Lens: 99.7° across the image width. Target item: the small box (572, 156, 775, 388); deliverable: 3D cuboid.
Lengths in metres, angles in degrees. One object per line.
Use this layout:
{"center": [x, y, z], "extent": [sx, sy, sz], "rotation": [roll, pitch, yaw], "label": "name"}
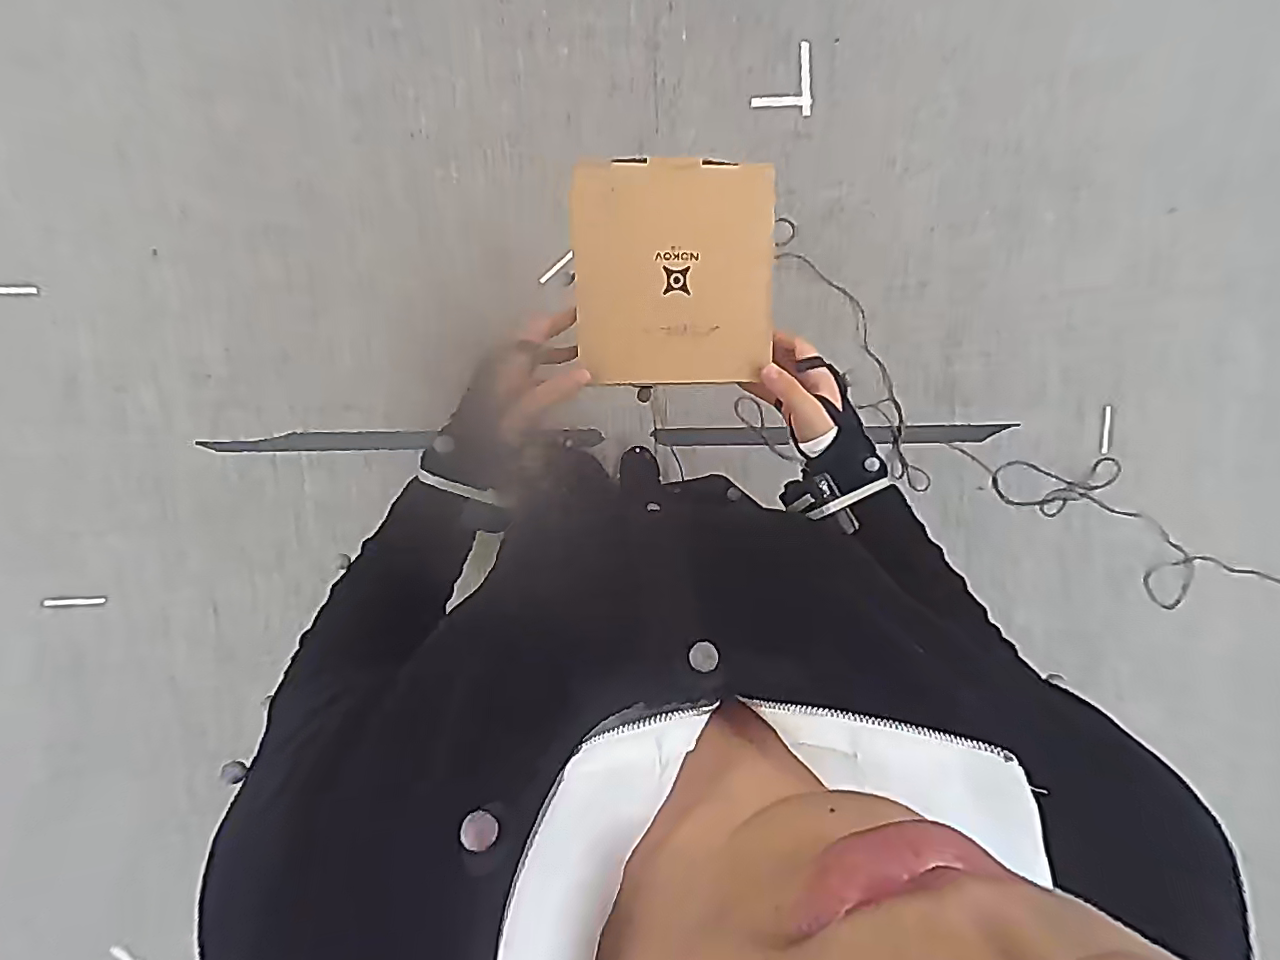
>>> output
{"center": [0.020, -0.179, 0.519], "extent": [0.168, 0.176, 0.179], "rotation": [-2, 99, -6], "label": "small box"}
